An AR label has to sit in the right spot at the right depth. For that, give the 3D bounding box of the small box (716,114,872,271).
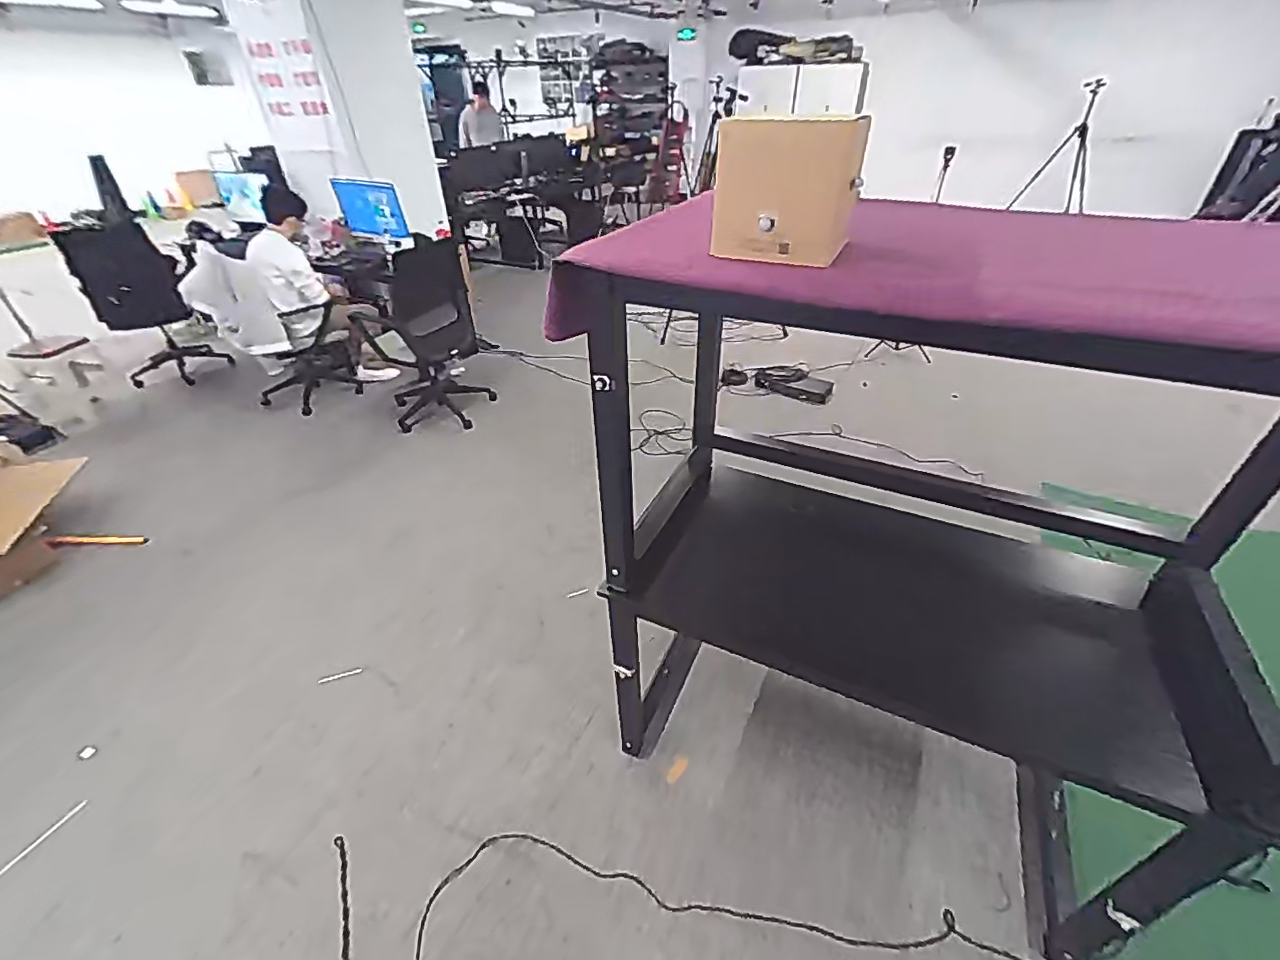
[{"bbox_3d":[0.210,-0.407,0.756,0.168,0.176,0.179,15,39,21],"label":"small box"}]
